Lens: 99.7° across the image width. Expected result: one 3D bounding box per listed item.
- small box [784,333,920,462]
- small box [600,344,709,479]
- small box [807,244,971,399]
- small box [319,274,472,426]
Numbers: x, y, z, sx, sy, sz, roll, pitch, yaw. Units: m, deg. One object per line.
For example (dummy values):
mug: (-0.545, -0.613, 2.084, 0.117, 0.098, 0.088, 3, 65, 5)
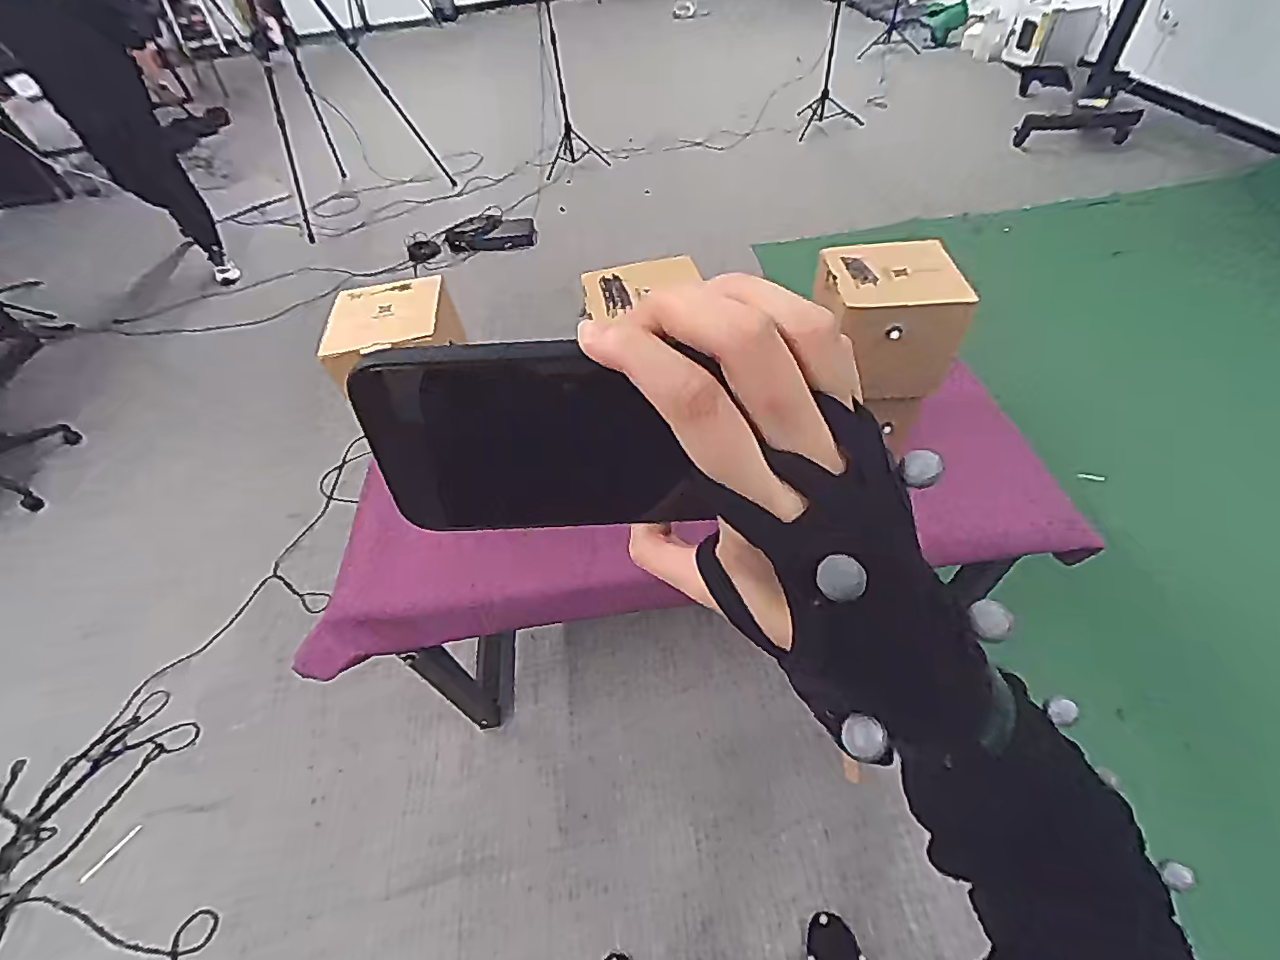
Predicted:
small box: (0.364, -0.145, 0.964, 0.179, 0.176, 0.168, -2, 50, 5)
small box: (0.025, -0.120, 0.977, 0.179, 0.176, 0.168, -6, 51, 1)
small box: (0.361, -0.237, 0.828, 0.179, 0.176, 0.168, -1, 50, 4)
small box: (-0.379, -0.202, 0.875, 0.168, 0.176, 0.179, -9, 51, -3)
